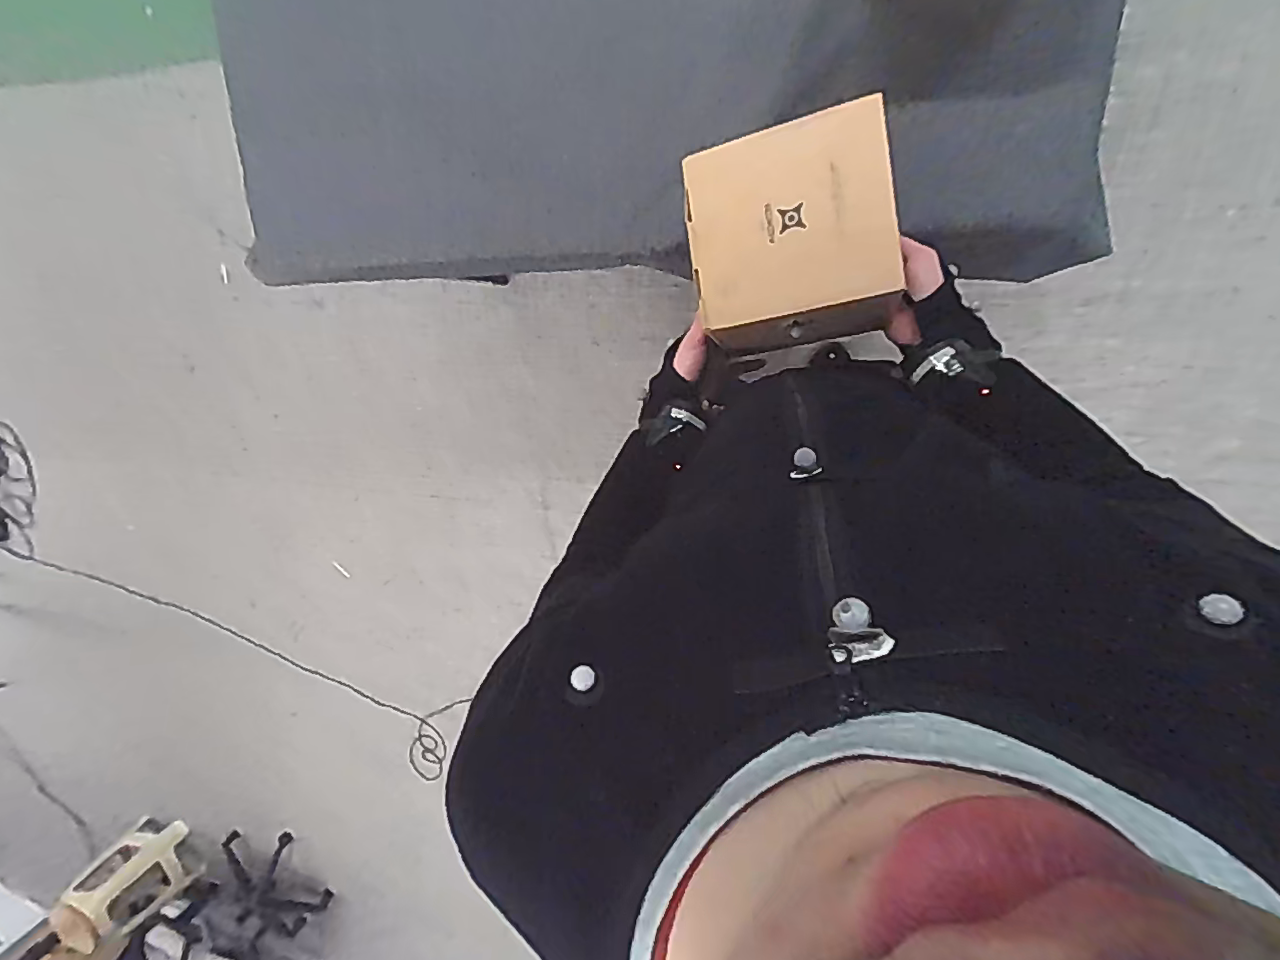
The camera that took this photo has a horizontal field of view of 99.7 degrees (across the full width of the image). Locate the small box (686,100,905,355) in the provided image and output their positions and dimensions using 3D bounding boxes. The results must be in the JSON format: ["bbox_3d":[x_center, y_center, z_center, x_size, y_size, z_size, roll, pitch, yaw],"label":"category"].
[{"bbox_3d":[0.159,-0.233,0.556,0.179,0.176,0.168,-7,92,19],"label":"small box"}]
